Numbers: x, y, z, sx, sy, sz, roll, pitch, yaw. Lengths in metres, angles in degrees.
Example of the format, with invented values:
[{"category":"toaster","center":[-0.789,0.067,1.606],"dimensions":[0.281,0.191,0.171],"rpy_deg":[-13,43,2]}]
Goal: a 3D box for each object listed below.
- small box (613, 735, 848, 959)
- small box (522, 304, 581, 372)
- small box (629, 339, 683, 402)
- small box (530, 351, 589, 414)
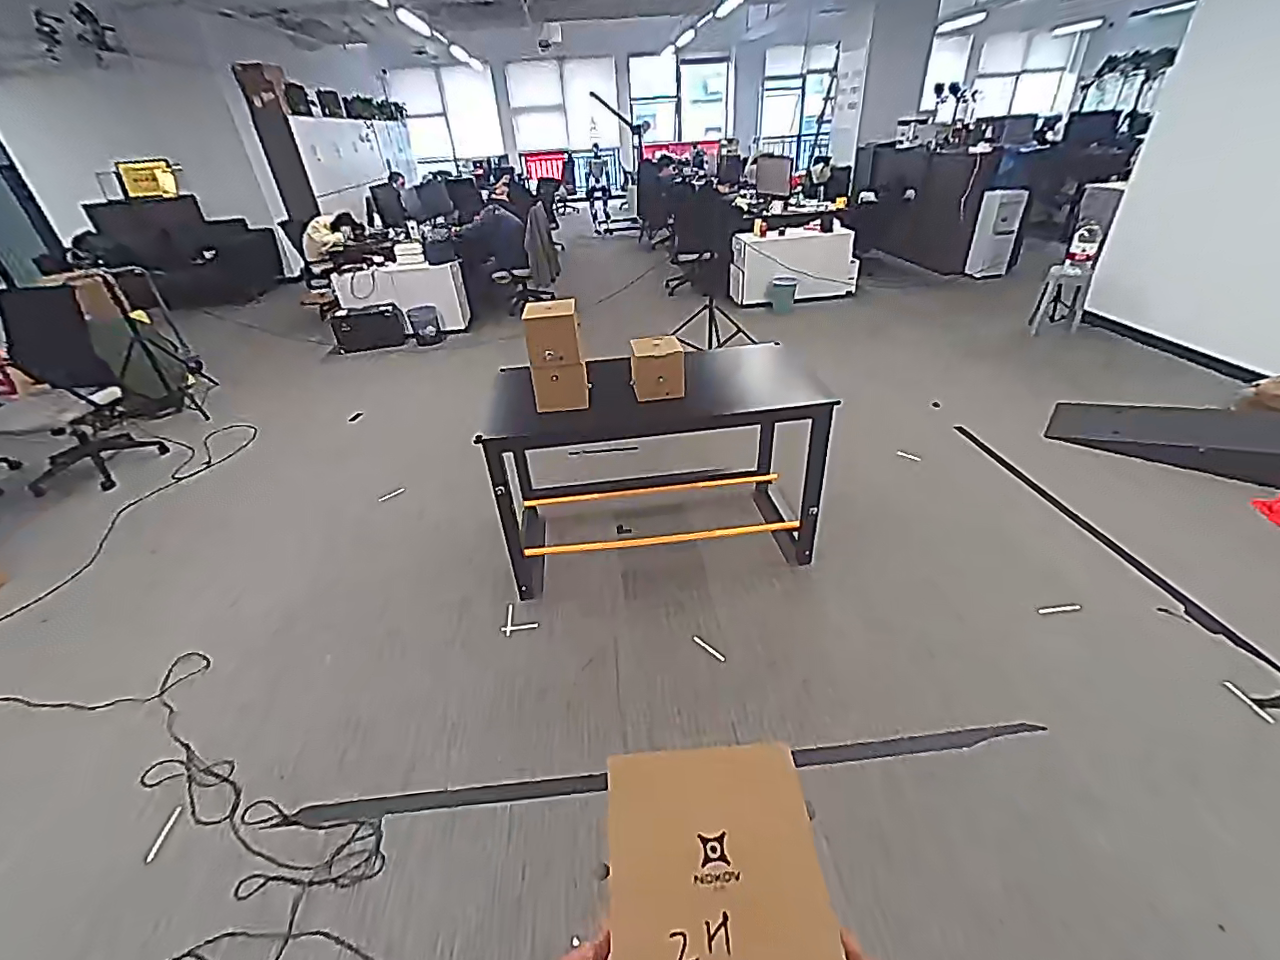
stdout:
[{"category":"small box","center":[0.063,0.355,0.477],"dimensions":[0.168,0.176,0.179],"rpy_deg":[-5,40,-1]},{"category":"small box","center":[-0.289,-0.474,1.801],"dimensions":[0.168,0.176,0.179],"rpy_deg":[-7,34,-2]},{"category":"small box","center":[0.056,-0.385,1.925],"dimensions":[0.168,0.176,0.179],"rpy_deg":[-7,33,-4]},{"category":"small box","center":[-0.277,-0.339,1.891],"dimensions":[0.179,0.176,0.168],"rpy_deg":[-5,33,-3]}]
